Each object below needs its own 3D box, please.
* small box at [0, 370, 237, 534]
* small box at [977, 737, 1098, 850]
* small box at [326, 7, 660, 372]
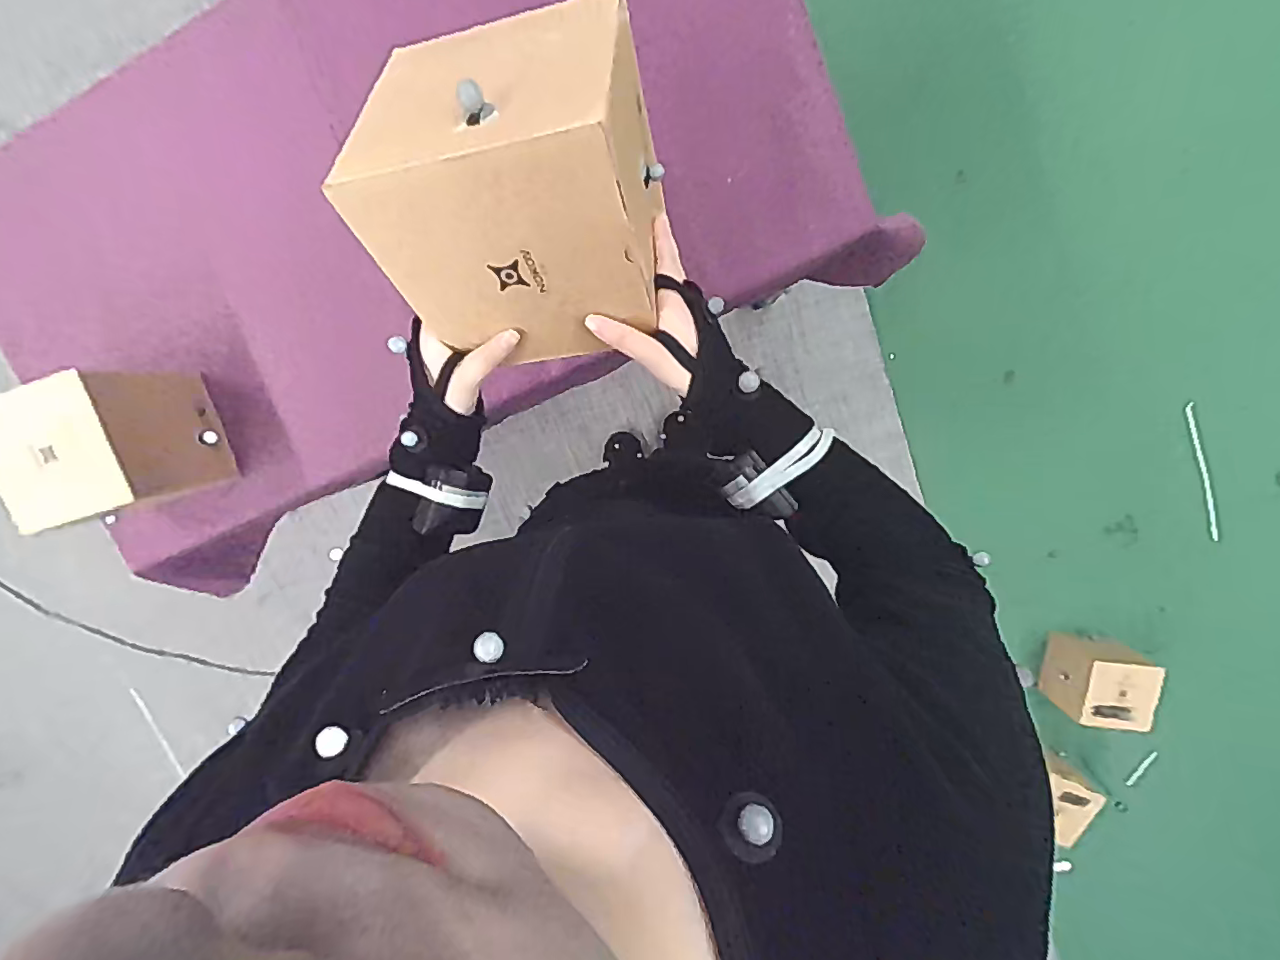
[{"bbox_3d":[-0.707,-0.043,0.730,0.179,0.176,0.168,-15,99,7],"label":"small box"},{"bbox_3d":[1.069,0.844,1.473,0.168,0.176,0.179,25,102,0],"label":"small box"},{"bbox_3d":[-0.083,-0.206,0.407,0.179,0.168,0.176,-5,60,11],"label":"small box"}]
